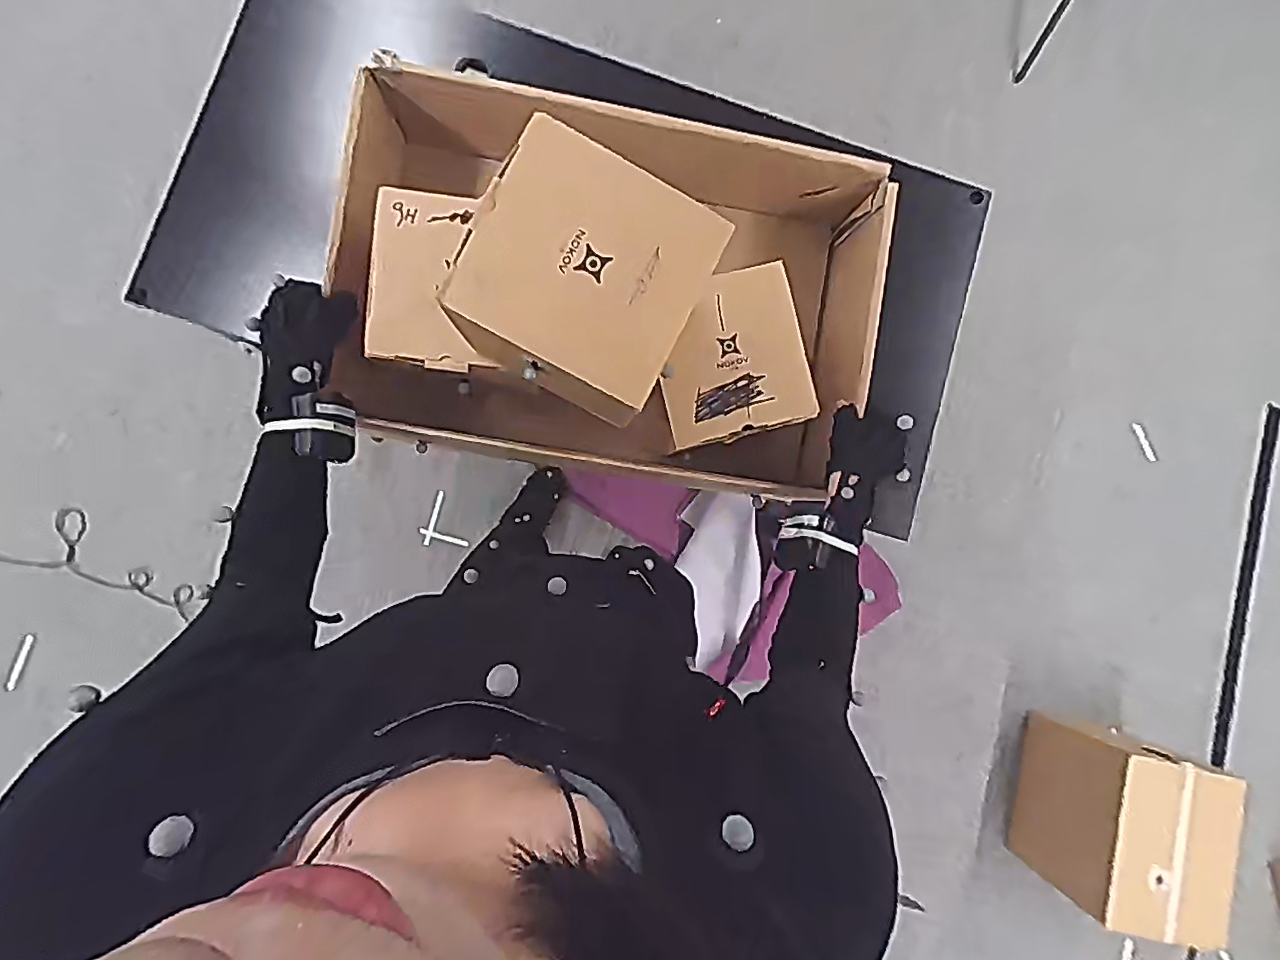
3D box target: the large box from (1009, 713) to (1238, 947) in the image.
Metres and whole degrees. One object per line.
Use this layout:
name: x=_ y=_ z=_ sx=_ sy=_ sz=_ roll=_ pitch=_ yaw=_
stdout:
large box: x=1.253 y=0.890 z=1.431 sx=0.320 sy=0.320 sz=0.408 roll=13 pitch=85 yaw=-3
